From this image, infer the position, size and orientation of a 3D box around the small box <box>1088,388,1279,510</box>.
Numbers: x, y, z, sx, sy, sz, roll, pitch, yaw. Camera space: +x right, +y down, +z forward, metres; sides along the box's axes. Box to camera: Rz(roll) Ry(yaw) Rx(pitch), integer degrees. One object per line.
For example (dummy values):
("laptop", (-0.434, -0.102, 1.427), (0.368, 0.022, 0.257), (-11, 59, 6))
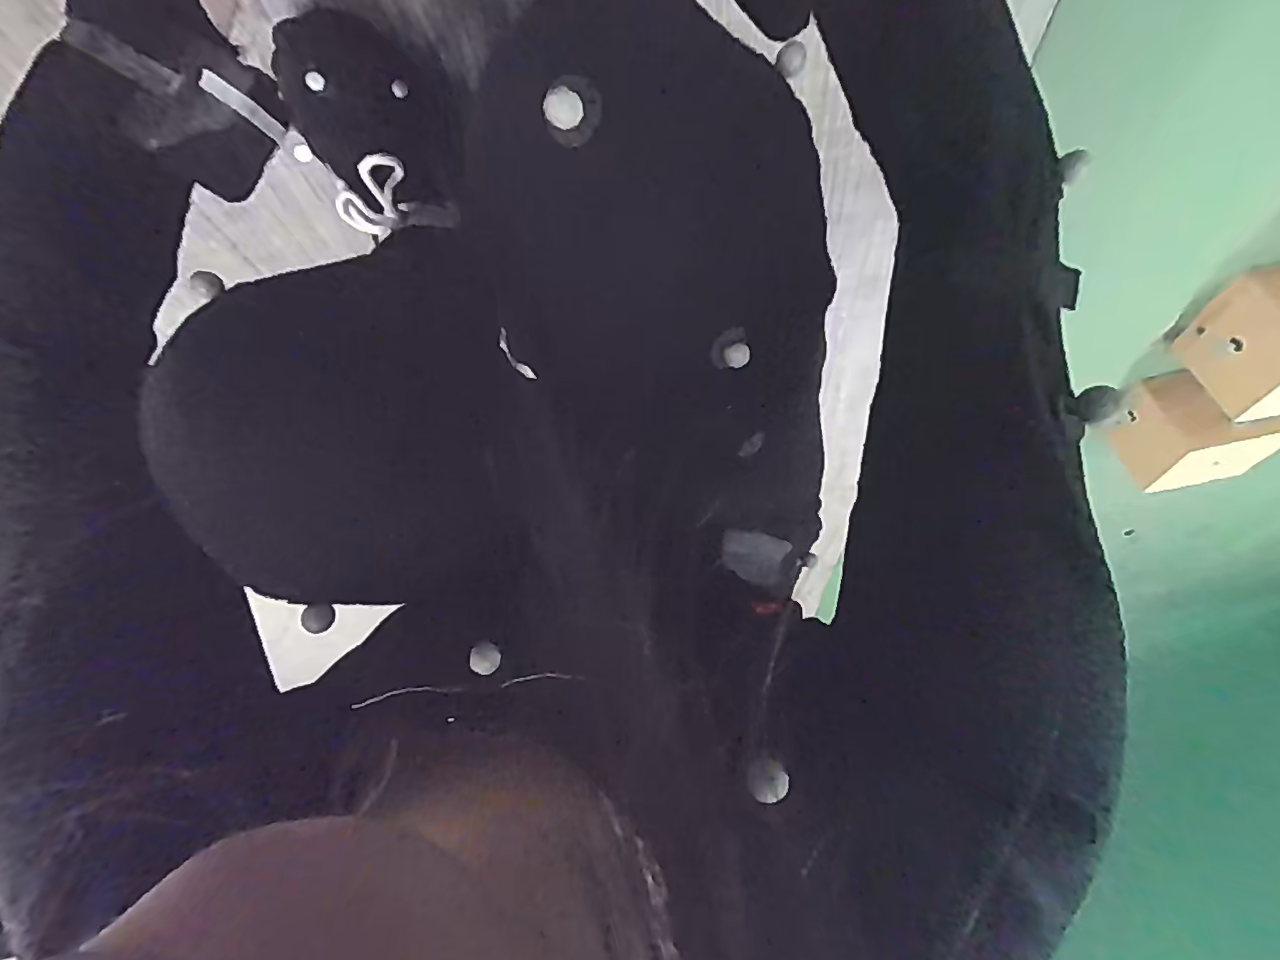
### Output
("small box", (1.029, -0.069, 1.036), (0.179, 0.176, 0.168), (-15, 146, 8))

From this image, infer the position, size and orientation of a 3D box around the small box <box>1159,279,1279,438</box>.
("small box", (0.976, -0.194, 0.828), (0.179, 0.176, 0.168), (-13, 148, 5))
